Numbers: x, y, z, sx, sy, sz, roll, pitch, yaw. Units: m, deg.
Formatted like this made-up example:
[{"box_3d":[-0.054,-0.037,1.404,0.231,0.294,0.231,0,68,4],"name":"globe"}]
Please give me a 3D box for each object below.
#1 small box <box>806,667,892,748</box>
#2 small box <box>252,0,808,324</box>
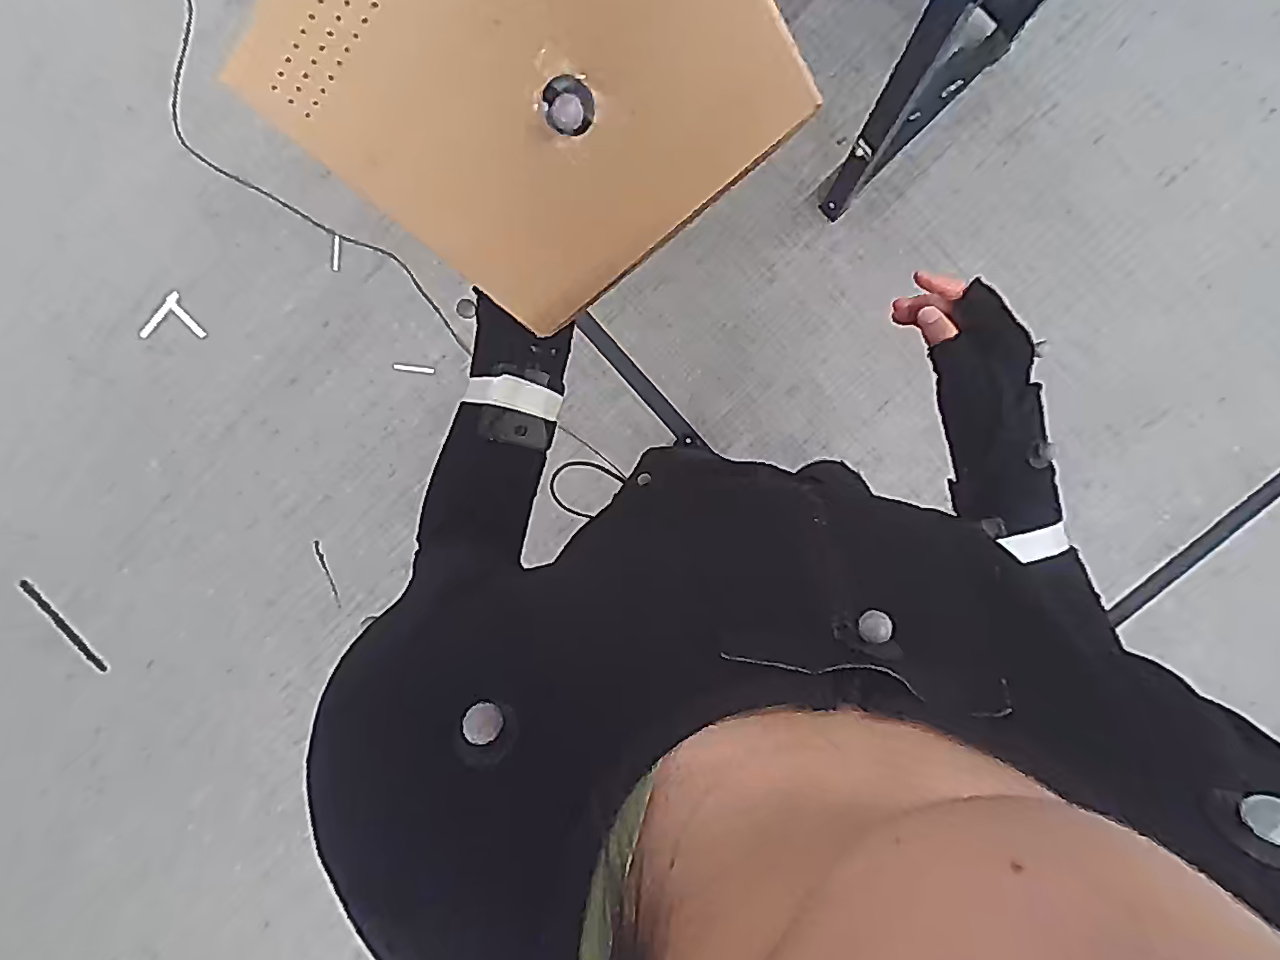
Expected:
[{"box_3d":[0.554,0.628,1.410,0.179,0.176,0.168,-39,90,8],"name":"small box"},{"box_3d":[-0.052,-0.223,0.267,0.179,0.168,0.176,-31,135,29],"name":"small box"}]
